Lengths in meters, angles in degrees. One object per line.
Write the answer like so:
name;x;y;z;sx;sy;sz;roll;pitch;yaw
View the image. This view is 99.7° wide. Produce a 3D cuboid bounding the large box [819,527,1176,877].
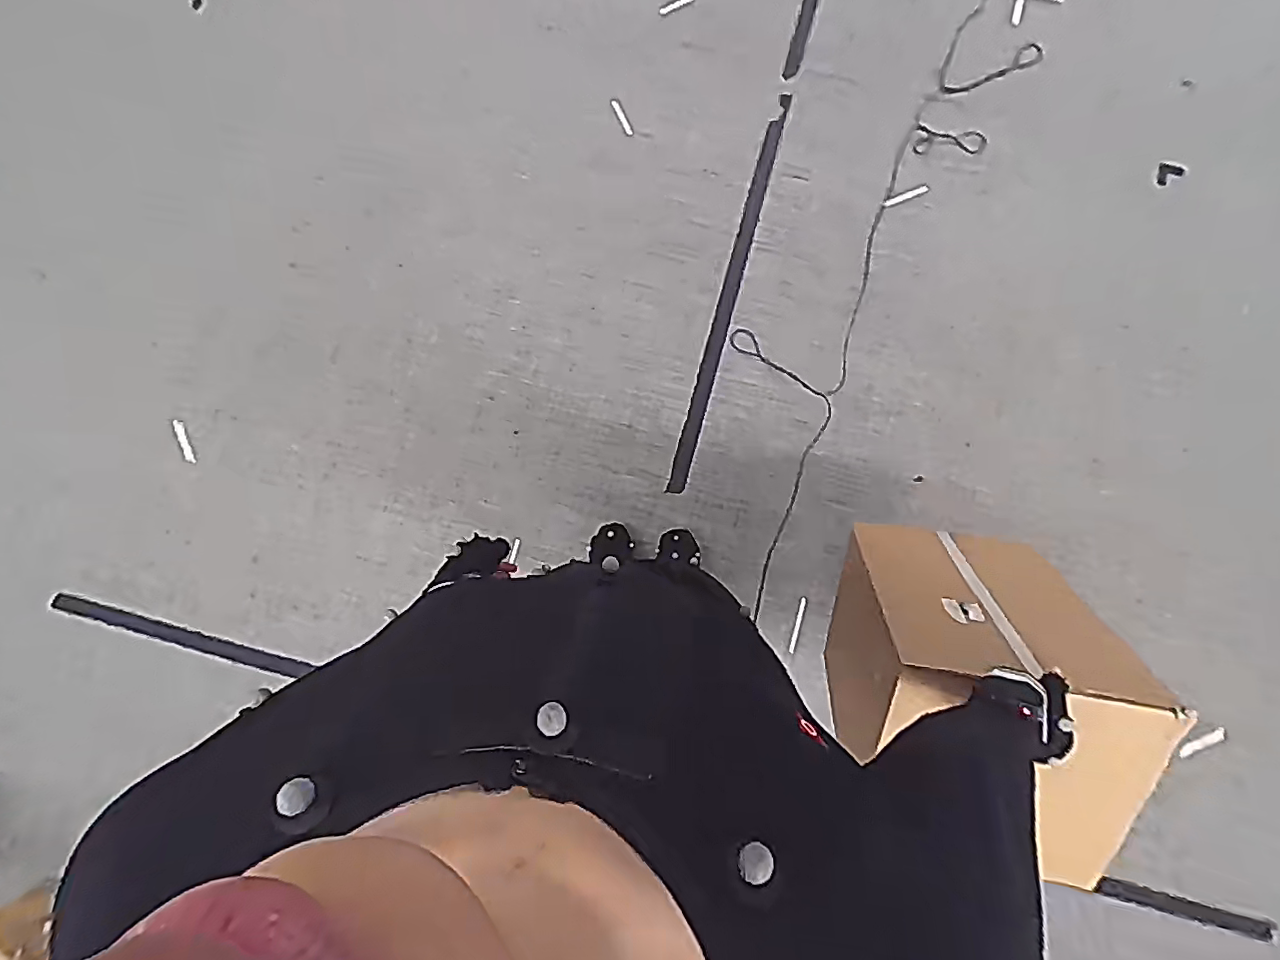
large box;0.501;0.320;0.887;0.320;0.408;0.320;7;113;9
